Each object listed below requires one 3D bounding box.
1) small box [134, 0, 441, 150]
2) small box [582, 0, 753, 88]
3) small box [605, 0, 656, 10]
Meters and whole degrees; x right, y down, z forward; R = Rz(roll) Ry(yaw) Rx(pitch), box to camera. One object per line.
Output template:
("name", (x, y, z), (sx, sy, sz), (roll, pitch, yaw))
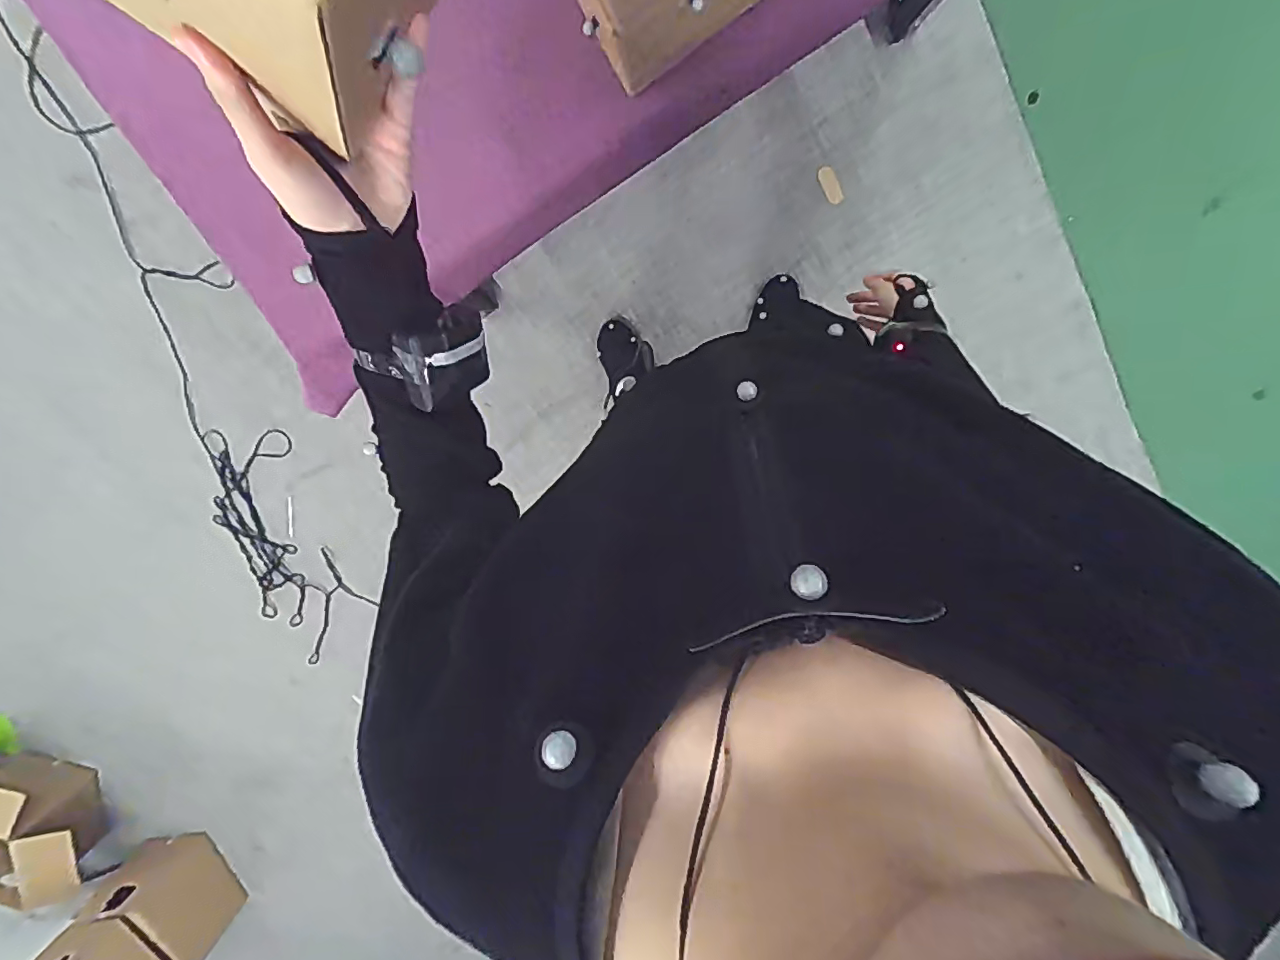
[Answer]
("small box", (-0.144, -0.267, 0.187), (0.168, 0.179, 0.176), (28, 92, -29))
("small box", (0.014, -0.526, 0.515), (0.179, 0.176, 0.168), (-28, 104, 14))
("small box", (0.007, -0.471, 0.361), (0.168, 0.176, 0.179), (-25, 105, 14))
